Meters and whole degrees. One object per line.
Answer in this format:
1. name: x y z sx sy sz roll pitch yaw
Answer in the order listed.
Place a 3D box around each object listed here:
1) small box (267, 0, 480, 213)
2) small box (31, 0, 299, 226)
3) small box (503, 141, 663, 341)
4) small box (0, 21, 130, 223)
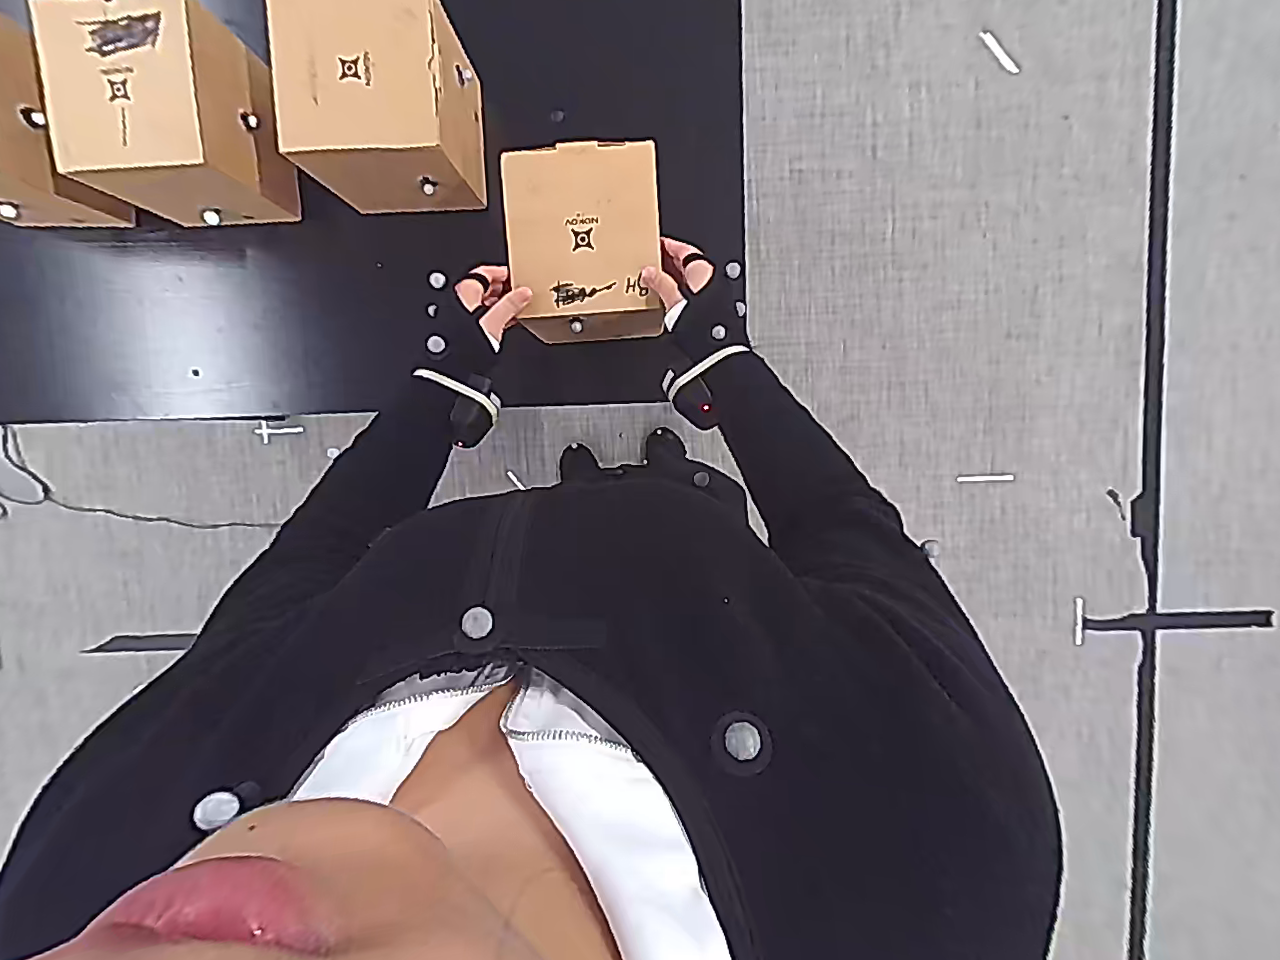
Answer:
1. small box: -0.299 -0.439 0.648 0.179 0.176 0.168 -2 94 2
2. small box: -0.547 -0.428 0.650 0.168 0.176 0.179 -3 97 0
3. small box: -0.060 -0.275 0.658 0.168 0.176 0.179 -3 96 2
4. small box: -0.772 -0.428 0.654 0.168 0.176 0.179 1 95 0
